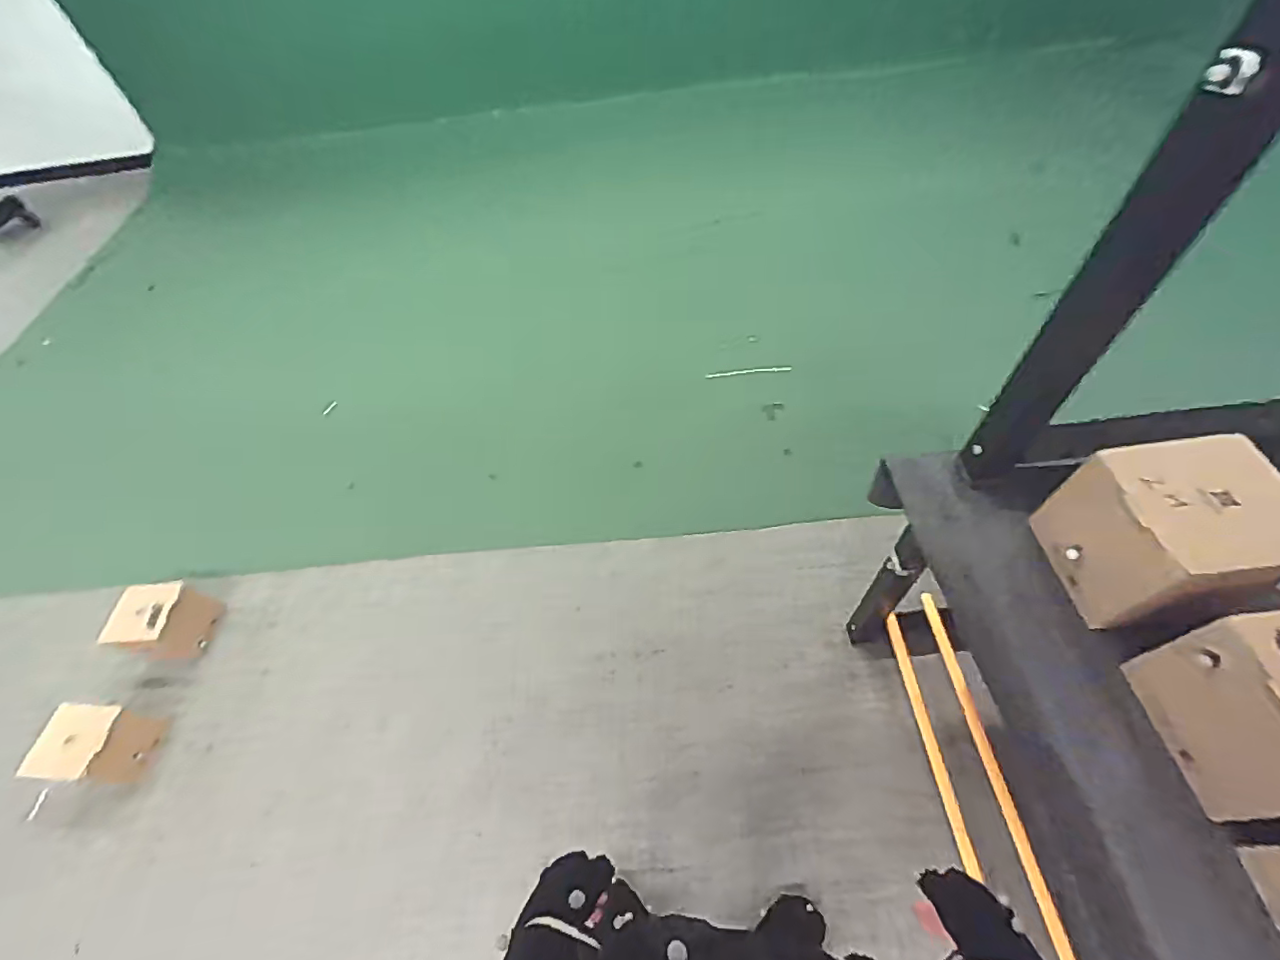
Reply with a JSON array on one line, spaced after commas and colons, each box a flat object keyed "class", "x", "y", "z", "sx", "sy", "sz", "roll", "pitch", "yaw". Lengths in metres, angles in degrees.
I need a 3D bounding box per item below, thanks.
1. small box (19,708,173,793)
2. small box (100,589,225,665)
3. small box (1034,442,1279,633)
[{"class": "small box", "x": -1.357, "y": 0.684, "z": 1.364, "sx": 0.179, "sy": 0.176, "sz": 0.168, "roll": 0, "pitch": 55, "yaw": 6}, {"class": "small box", "x": -1.352, "y": 0.424, "z": 1.548, "sx": 0.179, "sy": 0.176, "sz": 0.168, "roll": -4, "pitch": 54, "yaw": 4}, {"class": "small box", "x": 0.645, "y": 0.076, "z": 0.665, "sx": 0.179, "sy": 0.176, "sz": 0.168, "roll": -7, "pitch": 55, "yaw": 1}]
